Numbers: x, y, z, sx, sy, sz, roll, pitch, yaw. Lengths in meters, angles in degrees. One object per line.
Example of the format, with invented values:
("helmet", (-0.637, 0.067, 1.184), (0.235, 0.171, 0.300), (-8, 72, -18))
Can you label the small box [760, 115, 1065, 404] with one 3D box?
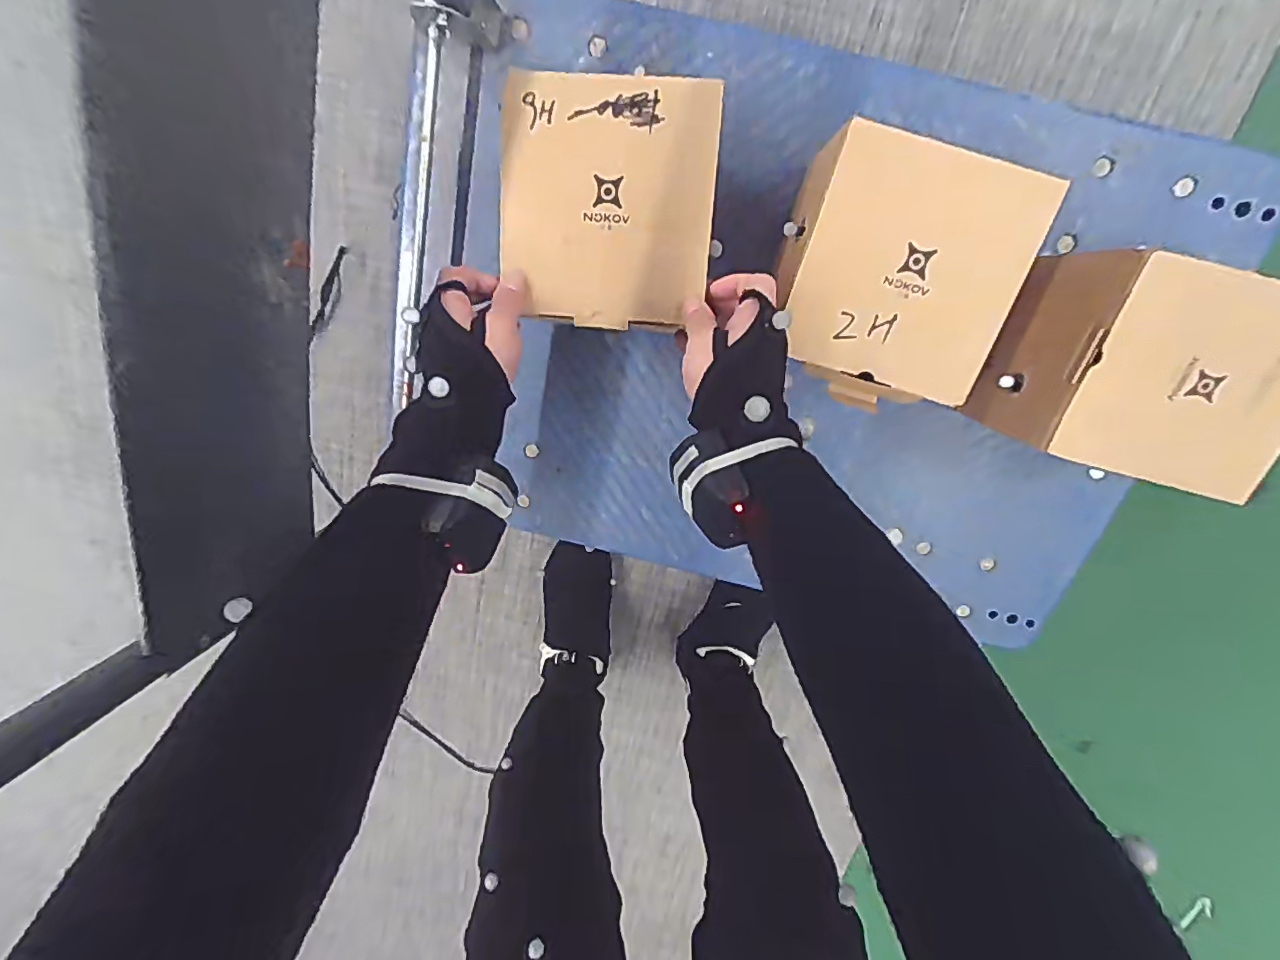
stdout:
("small box", (0.218, -0.190, 0.497), (0.168, 0.176, 0.179), (18, 110, 1))

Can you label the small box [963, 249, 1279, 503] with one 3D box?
("small box", (0.447, -0.102, 0.505), (0.179, 0.176, 0.168), (16, 110, 1))

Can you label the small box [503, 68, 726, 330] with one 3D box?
("small box", (-0.018, -0.235, 0.497), (0.168, 0.176, 0.179), (6, 104, 3))
